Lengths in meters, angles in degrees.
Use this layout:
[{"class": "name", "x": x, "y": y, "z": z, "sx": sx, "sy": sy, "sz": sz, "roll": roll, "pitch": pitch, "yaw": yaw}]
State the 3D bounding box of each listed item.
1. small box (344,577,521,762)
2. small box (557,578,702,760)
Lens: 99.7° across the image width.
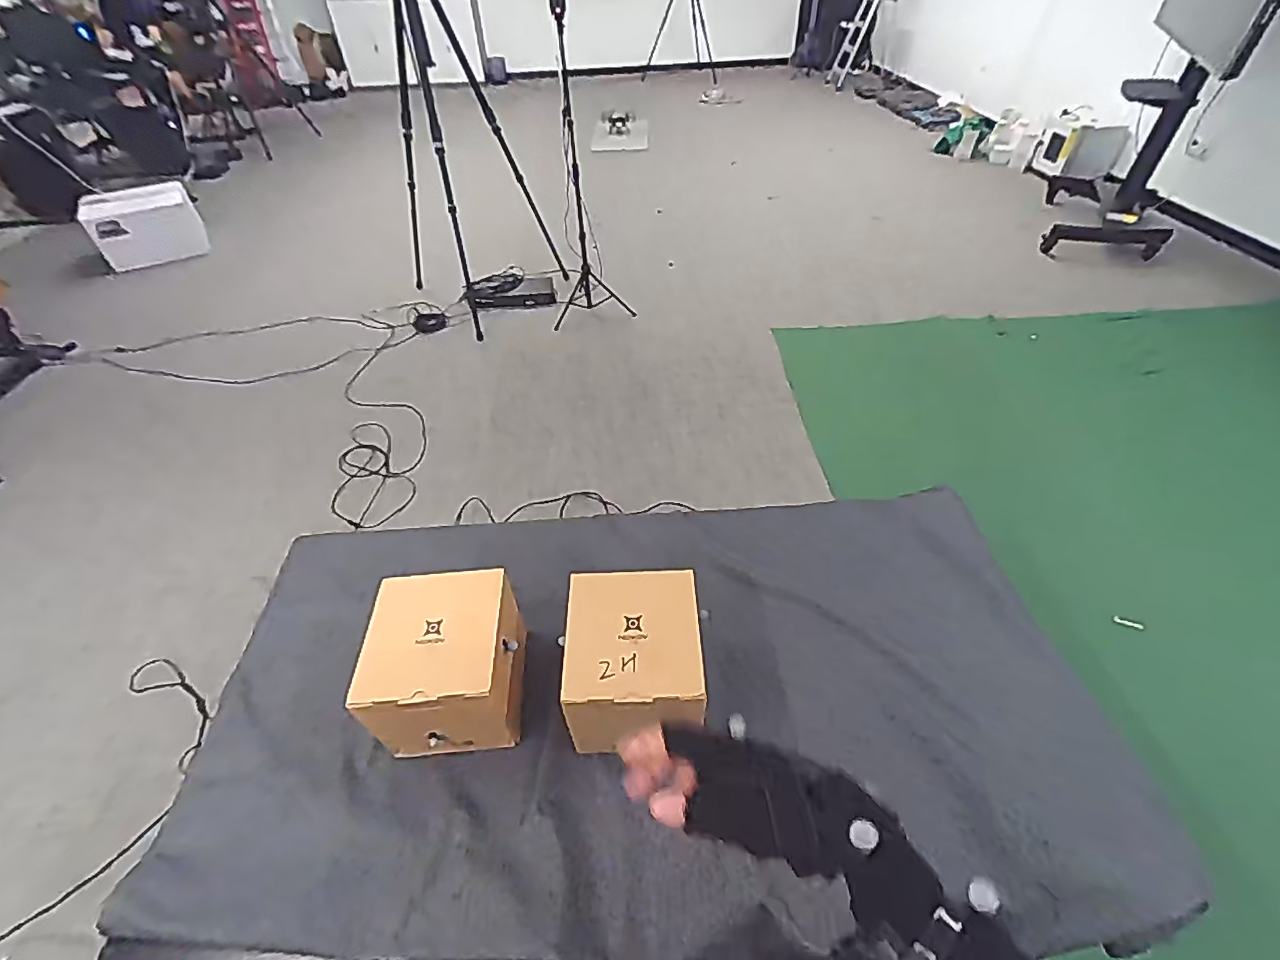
[{"class": "small box", "x": -0.259, "y": 0.253, "z": 0.726, "sx": 0.168, "sy": 0.176, "sz": 0.179, "roll": -4, "pitch": 46, "yaw": -3}, {"class": "small box", "x": -0.011, "y": 0.249, "z": 0.717, "sx": 0.168, "sy": 0.176, "sz": 0.179, "roll": -2, "pitch": 45, "yaw": 1}]
